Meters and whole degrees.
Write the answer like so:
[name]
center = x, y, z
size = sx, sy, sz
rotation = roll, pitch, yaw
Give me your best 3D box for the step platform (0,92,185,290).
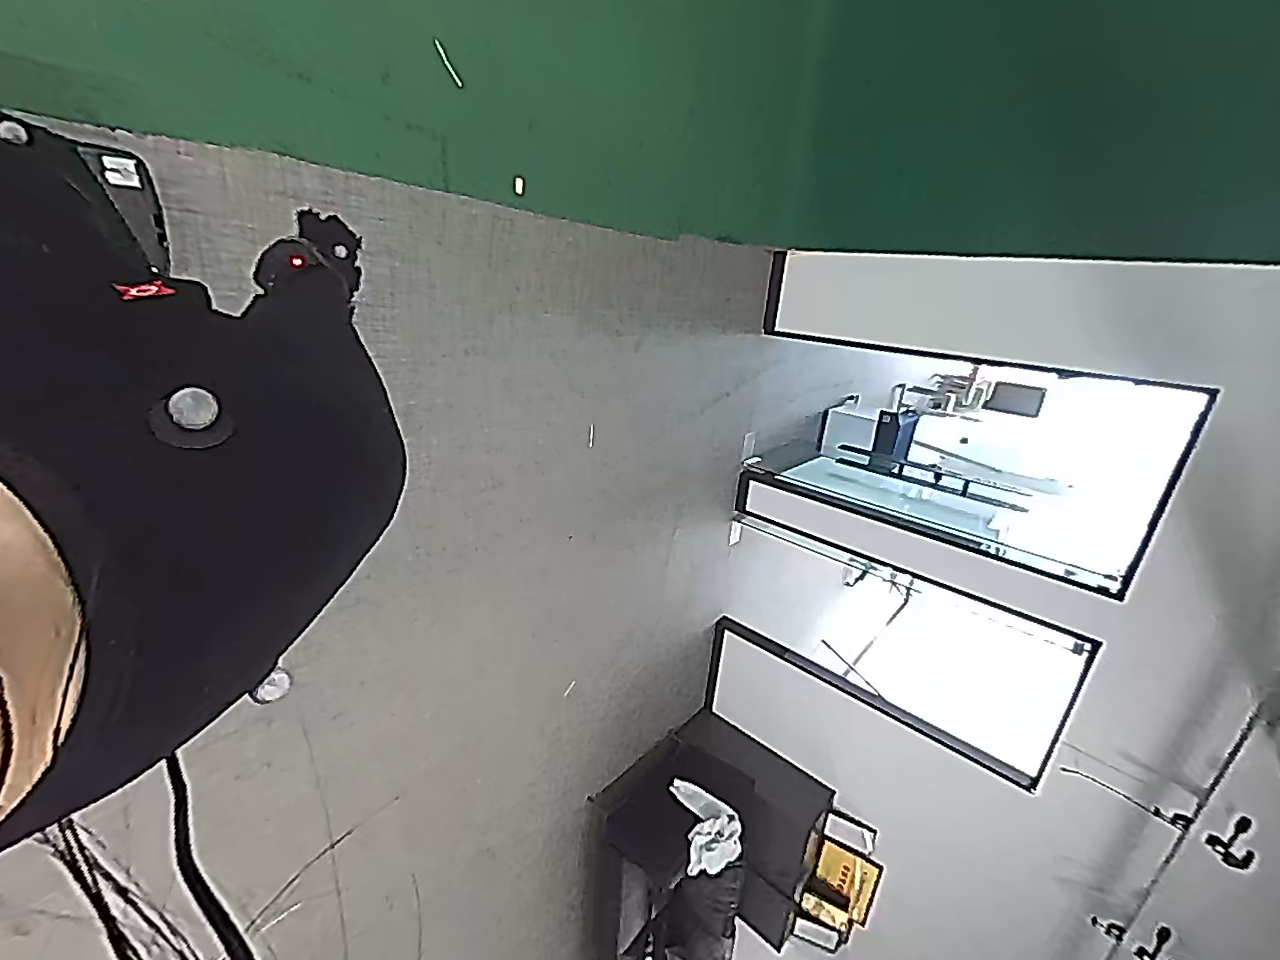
[step platform]
center = -1.102, -0.439, 0.762
size = 0.684, 0.204, 0.286
rotation = -17, 121, -46
